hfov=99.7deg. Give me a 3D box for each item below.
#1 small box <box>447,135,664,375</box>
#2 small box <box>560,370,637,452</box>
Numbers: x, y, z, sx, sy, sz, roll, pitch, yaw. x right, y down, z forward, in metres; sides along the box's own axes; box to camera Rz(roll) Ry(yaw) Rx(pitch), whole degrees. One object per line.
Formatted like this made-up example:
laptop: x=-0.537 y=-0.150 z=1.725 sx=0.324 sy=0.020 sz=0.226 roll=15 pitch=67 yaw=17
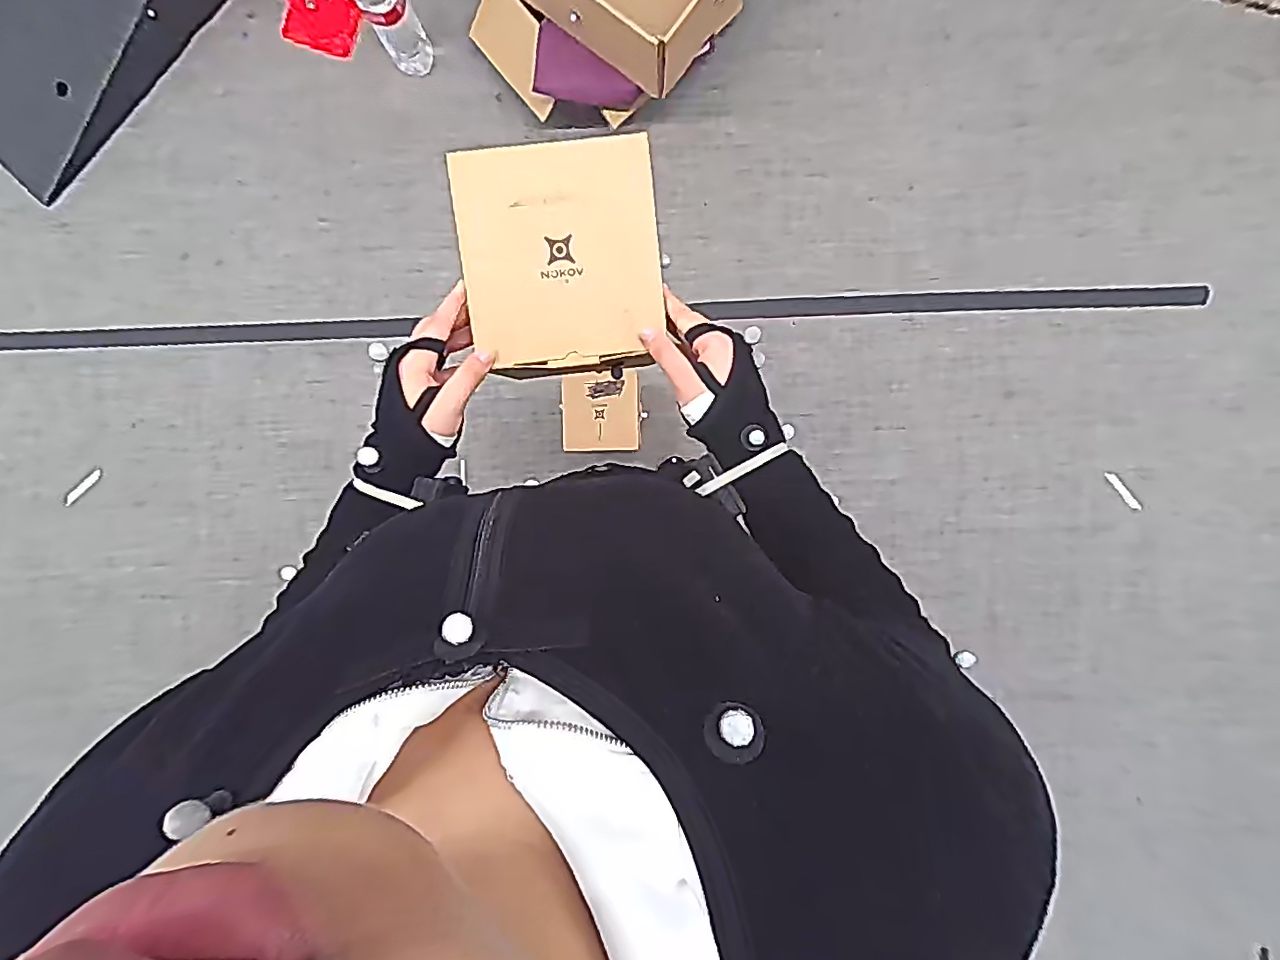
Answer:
small box: x=-0.070 y=-0.198 z=0.529 sx=0.168 sy=0.176 sz=0.179 roll=-7 pitch=98 yaw=-2
small box: x=-0.093 y=-0.154 z=1.244 sx=0.168 sy=0.176 sz=0.179 roll=-1 pitch=94 yaw=1
